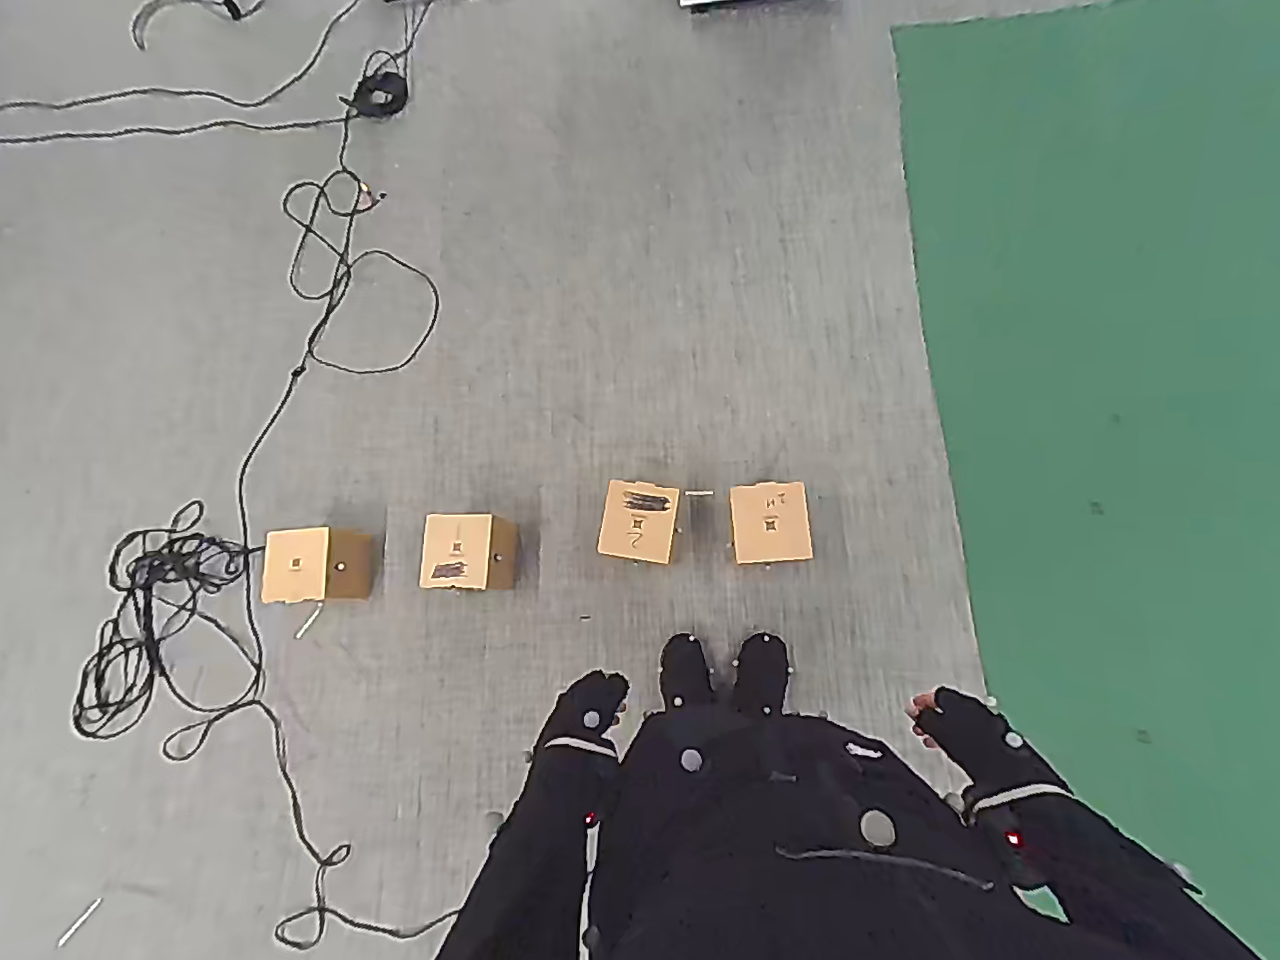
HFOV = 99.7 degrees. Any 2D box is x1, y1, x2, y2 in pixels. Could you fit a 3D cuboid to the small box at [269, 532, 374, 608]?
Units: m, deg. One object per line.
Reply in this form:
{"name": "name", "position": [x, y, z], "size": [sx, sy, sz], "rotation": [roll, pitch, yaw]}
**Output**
{"name": "small box", "position": [-0.809, 0.237, 1.391], "size": [0.168, 0.176, 0.179], "rotation": [-5, 77, 7]}

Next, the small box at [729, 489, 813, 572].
{"name": "small box", "position": [0.301, 0.125, 1.270], "size": [0.168, 0.176, 0.179], "rotation": [-4, 77, 5]}

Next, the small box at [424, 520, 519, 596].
{"name": "small box", "position": [-0.410, 0.197, 1.344], "size": [0.168, 0.176, 0.179], "rotation": [0, 77, 8]}
